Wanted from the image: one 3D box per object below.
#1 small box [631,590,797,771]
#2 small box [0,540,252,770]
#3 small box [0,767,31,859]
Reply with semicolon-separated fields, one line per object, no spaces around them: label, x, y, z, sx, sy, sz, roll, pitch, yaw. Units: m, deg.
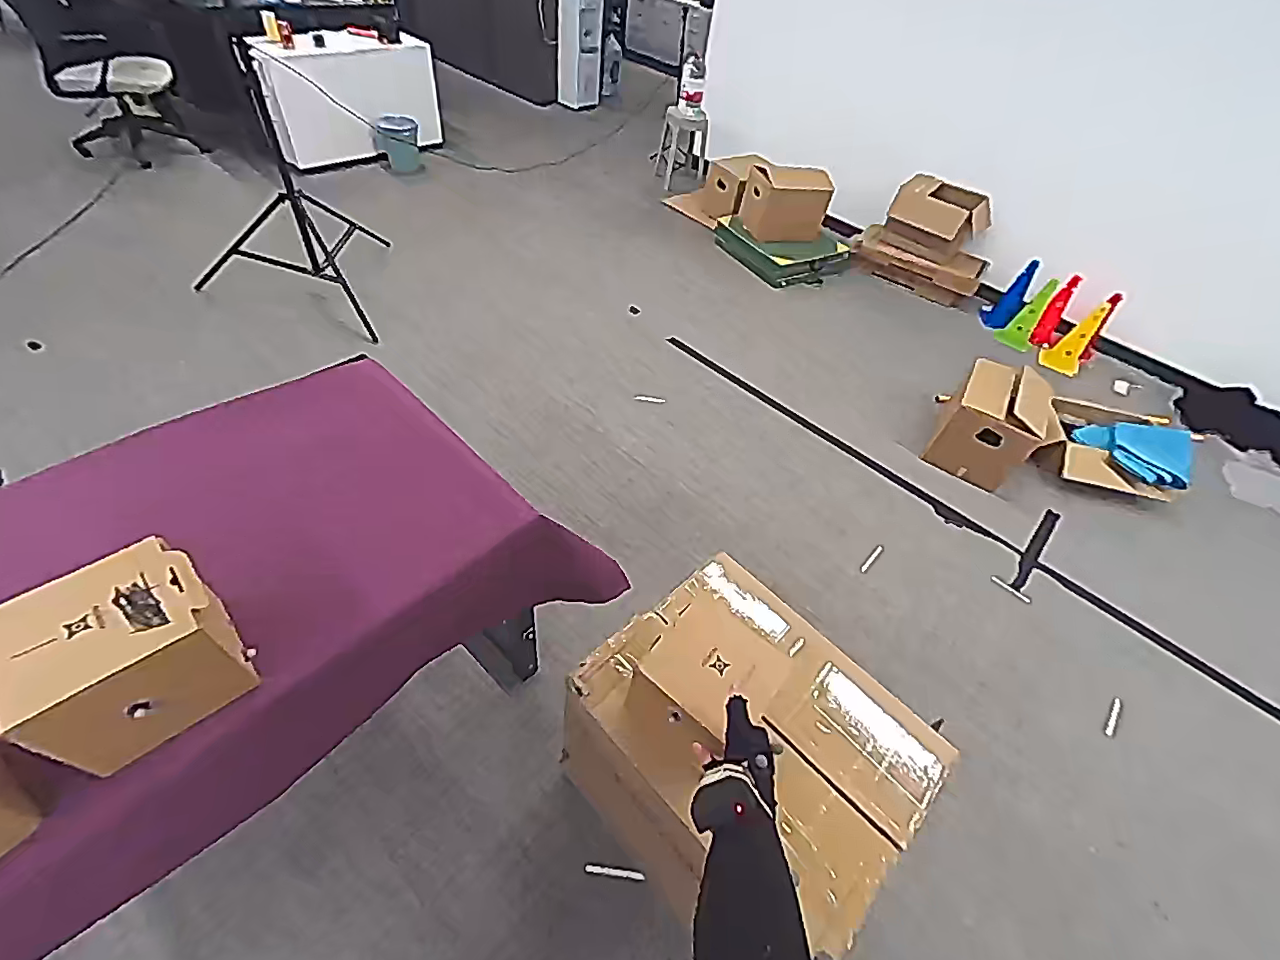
small box;0.103;0.311;0.830;0.179;0.176;0.168;35;55;20
small box;-0.616;0.213;0.663;0.179;0.176;0.168;-32;59;-30
small box;-0.769;0.343;0.524;0.168;0.176;0.179;29;49;17
